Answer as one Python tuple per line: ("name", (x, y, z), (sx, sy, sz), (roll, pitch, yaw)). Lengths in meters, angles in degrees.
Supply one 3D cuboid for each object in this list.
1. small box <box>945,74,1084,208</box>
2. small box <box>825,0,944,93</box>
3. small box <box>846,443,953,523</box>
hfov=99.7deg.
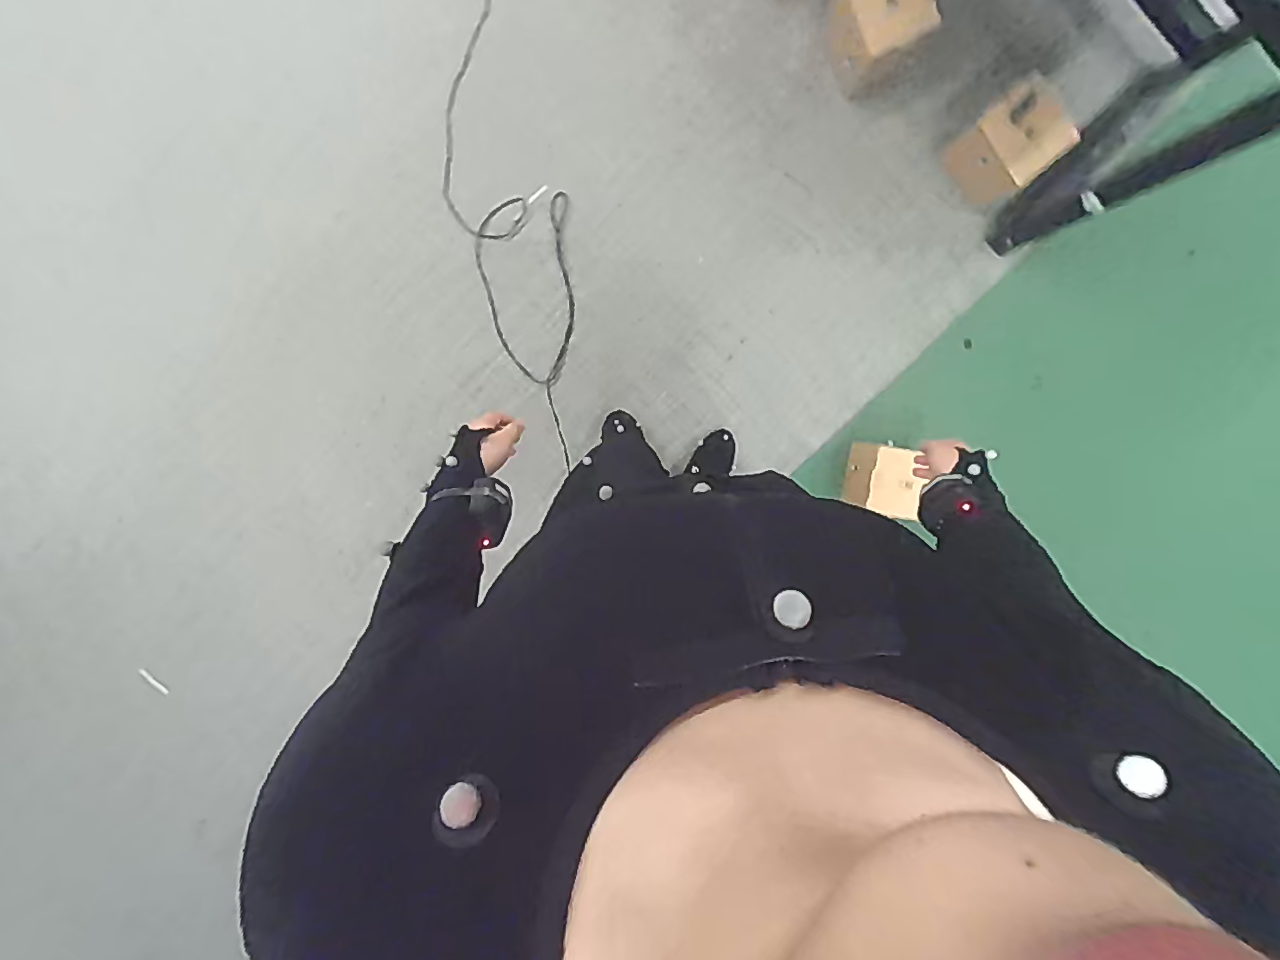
("small box", (0.868, -0.784, 1.273), (0.168, 0.176, 0.179), (-39, 96, 6))
("small box", (0.555, -1.042, 1.248), (0.168, 0.176, 0.179), (-25, 95, 4))
("small box", (0.655, 0.002, 1.383), (0.179, 0.176, 0.168), (10, 98, 1))
